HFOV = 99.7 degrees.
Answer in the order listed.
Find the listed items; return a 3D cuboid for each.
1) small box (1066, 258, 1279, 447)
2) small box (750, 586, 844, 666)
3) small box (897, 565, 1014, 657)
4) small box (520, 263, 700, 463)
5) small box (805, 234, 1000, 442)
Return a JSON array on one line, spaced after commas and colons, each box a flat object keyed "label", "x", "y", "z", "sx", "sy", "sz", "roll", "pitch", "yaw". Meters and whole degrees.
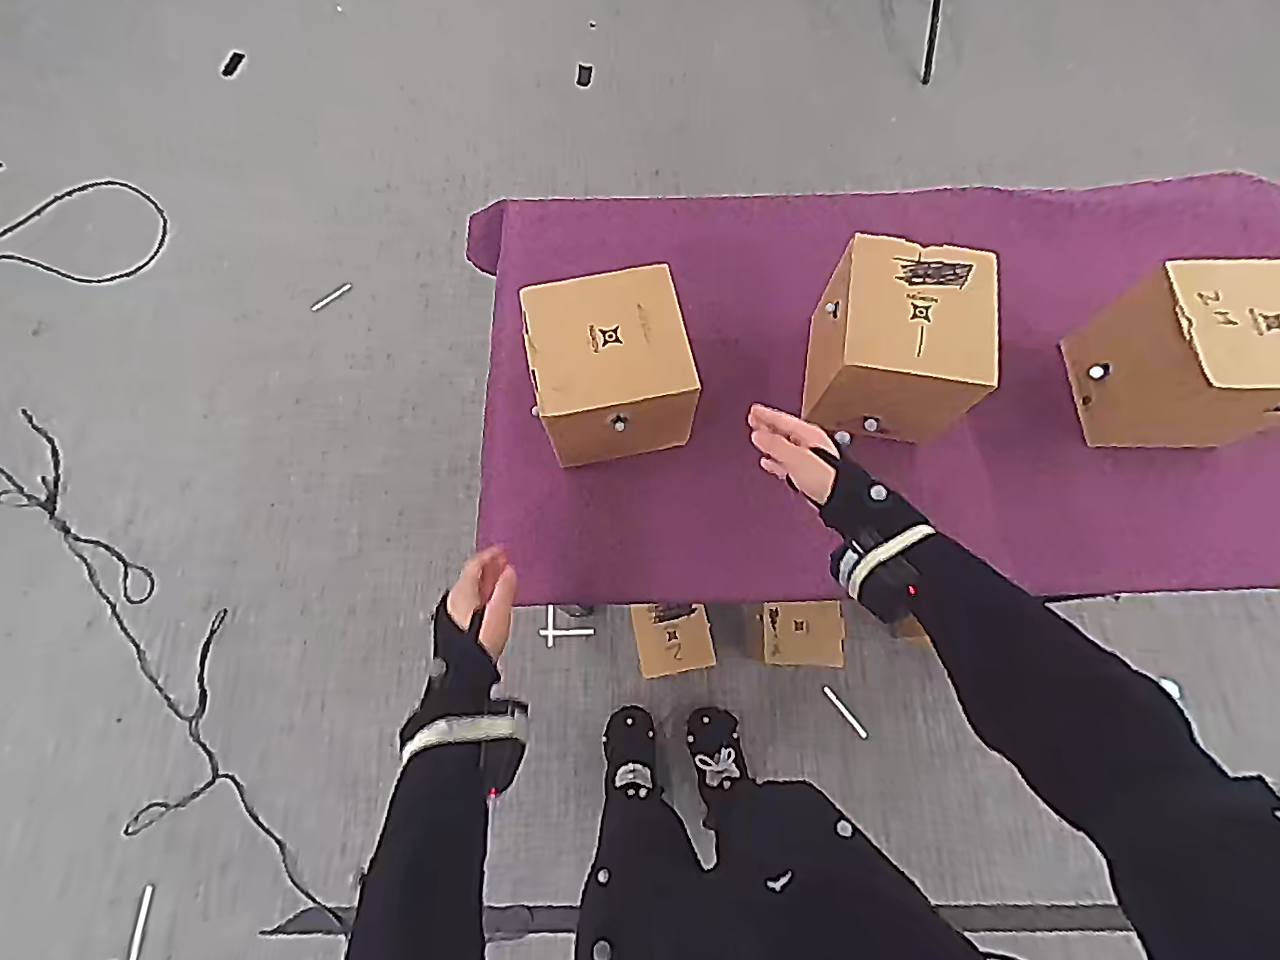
[{"label": "small box", "x": 0.684, "y": -0.147, "z": 0.664, "sx": 0.179, "sy": 0.176, "sz": 0.168, "roll": 0, "pitch": 72, "yaw": 1}, {"label": "small box", "x": 0.364, "y": 0.345, "z": 1.278, "sx": 0.179, "sy": 0.176, "sz": 0.168, "roll": 3, "pitch": 73, "yaw": 1}, {"label": "small box", "x": 0.743, "y": 0.312, "z": 1.285, "sx": 0.179, "sy": 0.176, "sz": 0.168, "roll": 15, "pitch": 74, "yaw": 6}, {"label": "small box", "x": -0.036, "y": -0.133, "z": 0.669, "sx": 0.179, "sy": 0.176, "sz": 0.168, "roll": -12, "pitch": 74, "yaw": -4}, {"label": "small box", "x": 0.314, "y": -0.167, "z": 0.675, "sx": 0.168, "sy": 0.176, "sz": 0.179, "roll": 10, "pitch": 74, "yaw": 4}]
